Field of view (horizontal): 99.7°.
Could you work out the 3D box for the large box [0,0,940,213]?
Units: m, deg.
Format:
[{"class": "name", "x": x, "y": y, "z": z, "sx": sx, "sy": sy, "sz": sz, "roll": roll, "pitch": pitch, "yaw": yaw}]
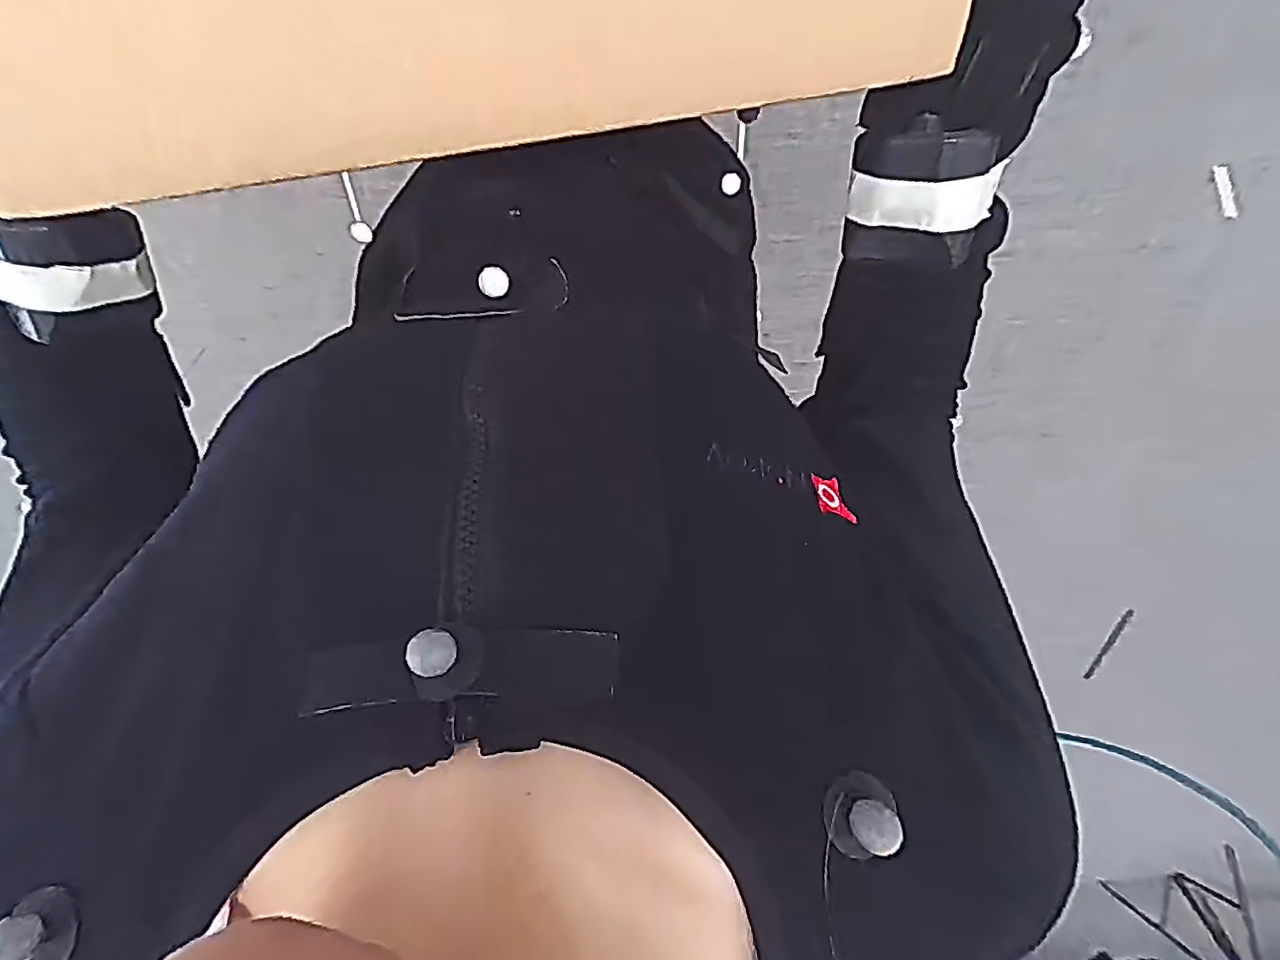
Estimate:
[{"class": "large box", "x": -0.103, "y": -0.359, "z": 0.236, "sx": 0.408, "sy": 0.320, "sz": 0.320, "roll": -8, "pitch": 133, "yaw": 1}]
